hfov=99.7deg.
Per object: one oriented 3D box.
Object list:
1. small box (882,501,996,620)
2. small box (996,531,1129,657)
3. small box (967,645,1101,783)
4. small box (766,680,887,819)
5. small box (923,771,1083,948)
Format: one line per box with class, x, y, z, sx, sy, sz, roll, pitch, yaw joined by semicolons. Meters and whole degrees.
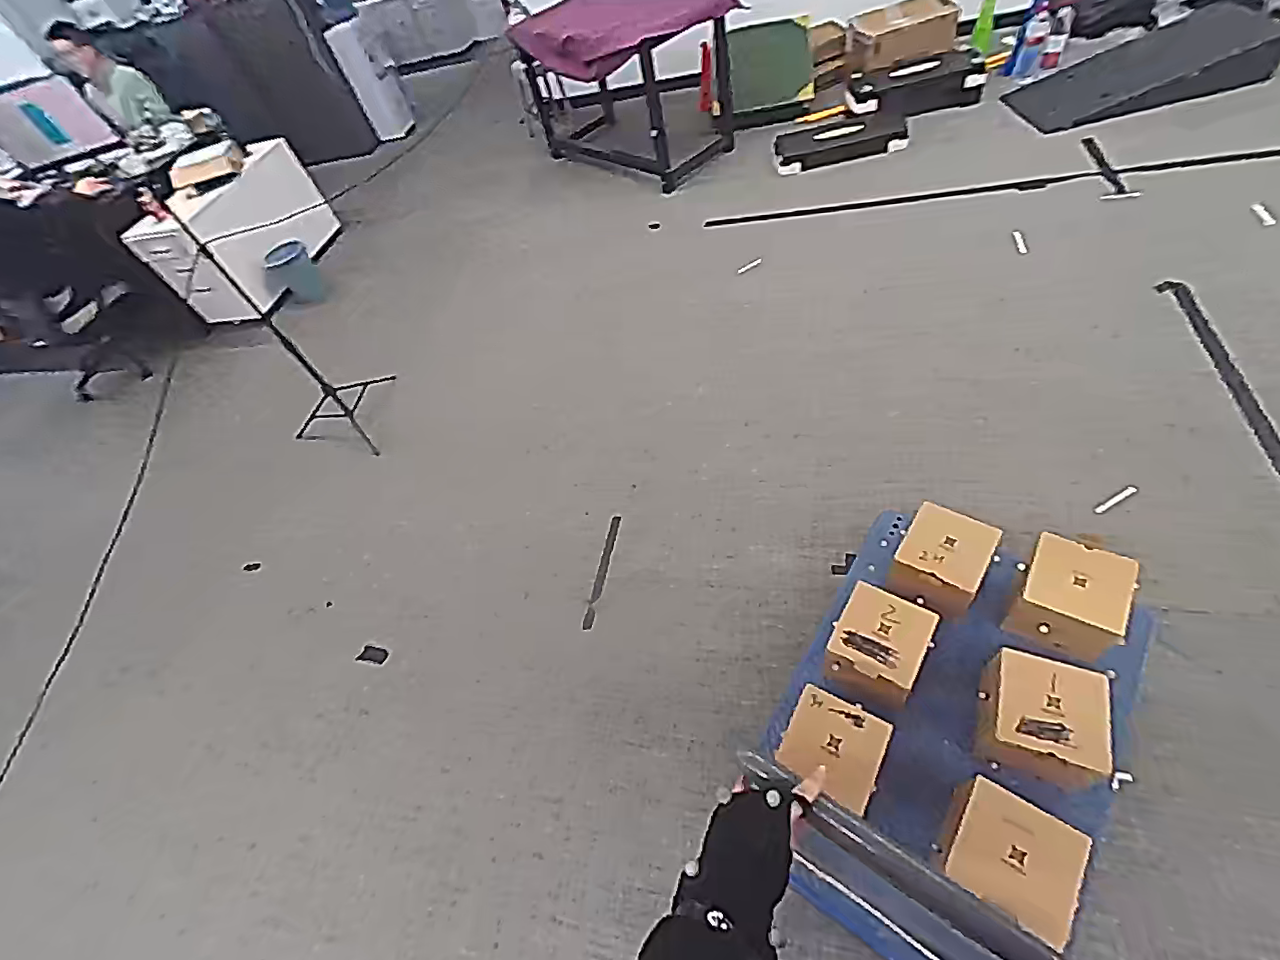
small box;0.675;0.186;1.238;0.168;0.176;0.179;26;65;30
small box;0.881;0.245;1.141;0.168;0.176;0.179;22;62;28
small box;0.739;0.447;1.026;0.168;0.176;0.179;13;57;23
small box;0.363;0.533;1.061;0.168;0.176;0.179;22;62;27
small box;0.603;0.639;0.919;0.168;0.176;0.179;25;63;29
